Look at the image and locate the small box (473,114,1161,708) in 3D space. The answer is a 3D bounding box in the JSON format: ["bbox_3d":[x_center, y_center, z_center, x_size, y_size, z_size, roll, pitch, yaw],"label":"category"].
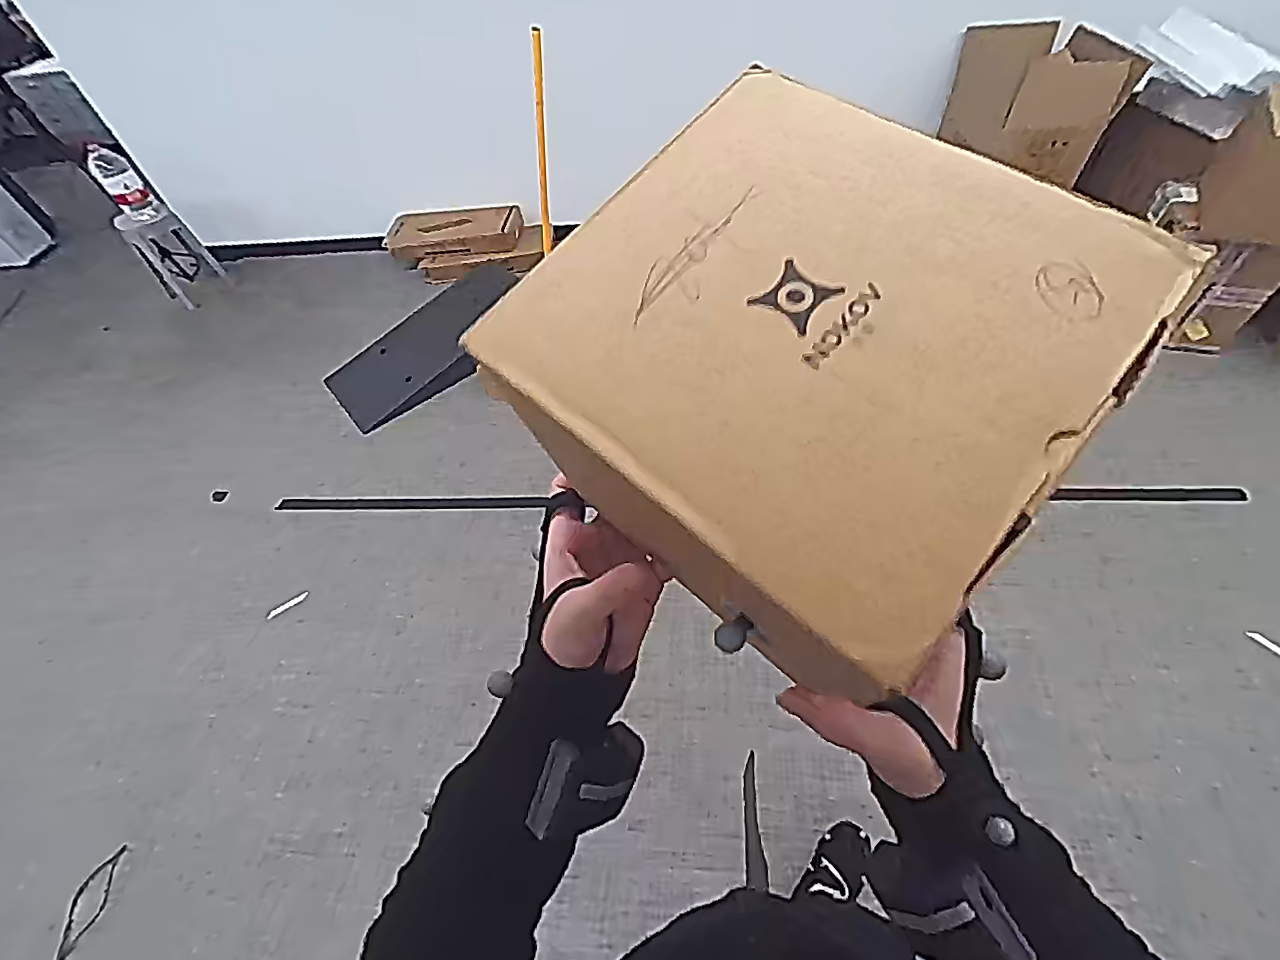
[{"bbox_3d":[0.064,-0.019,0.262,0.179,0.176,0.168,38,79,21],"label":"small box"}]
